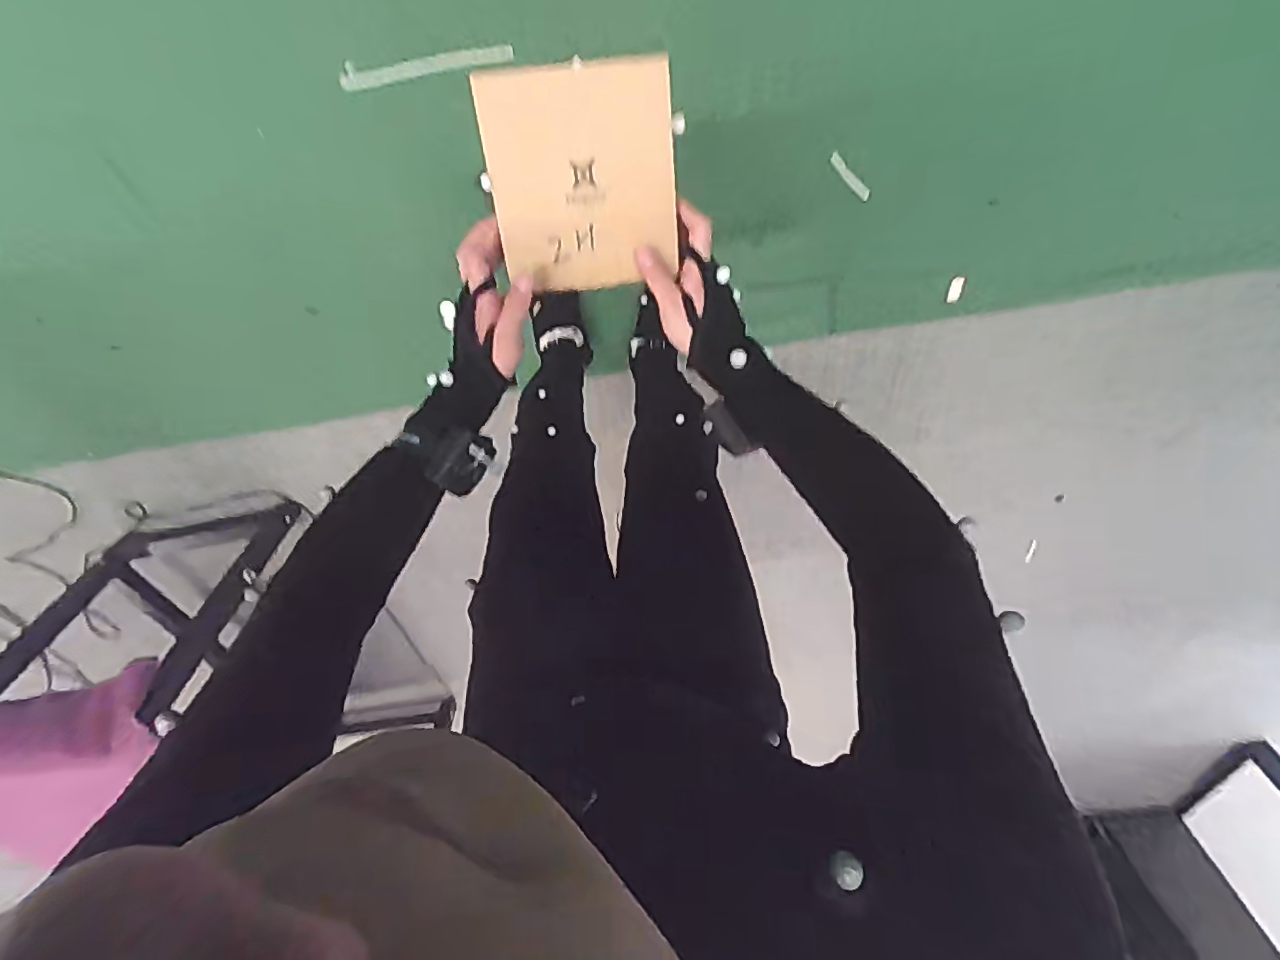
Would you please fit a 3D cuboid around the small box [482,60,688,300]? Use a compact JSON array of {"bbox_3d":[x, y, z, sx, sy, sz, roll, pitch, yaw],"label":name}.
[{"bbox_3d":[-0.047,-0.292,0.545,0.168,0.176,0.179,-7,119,-1],"label":"small box"}]
